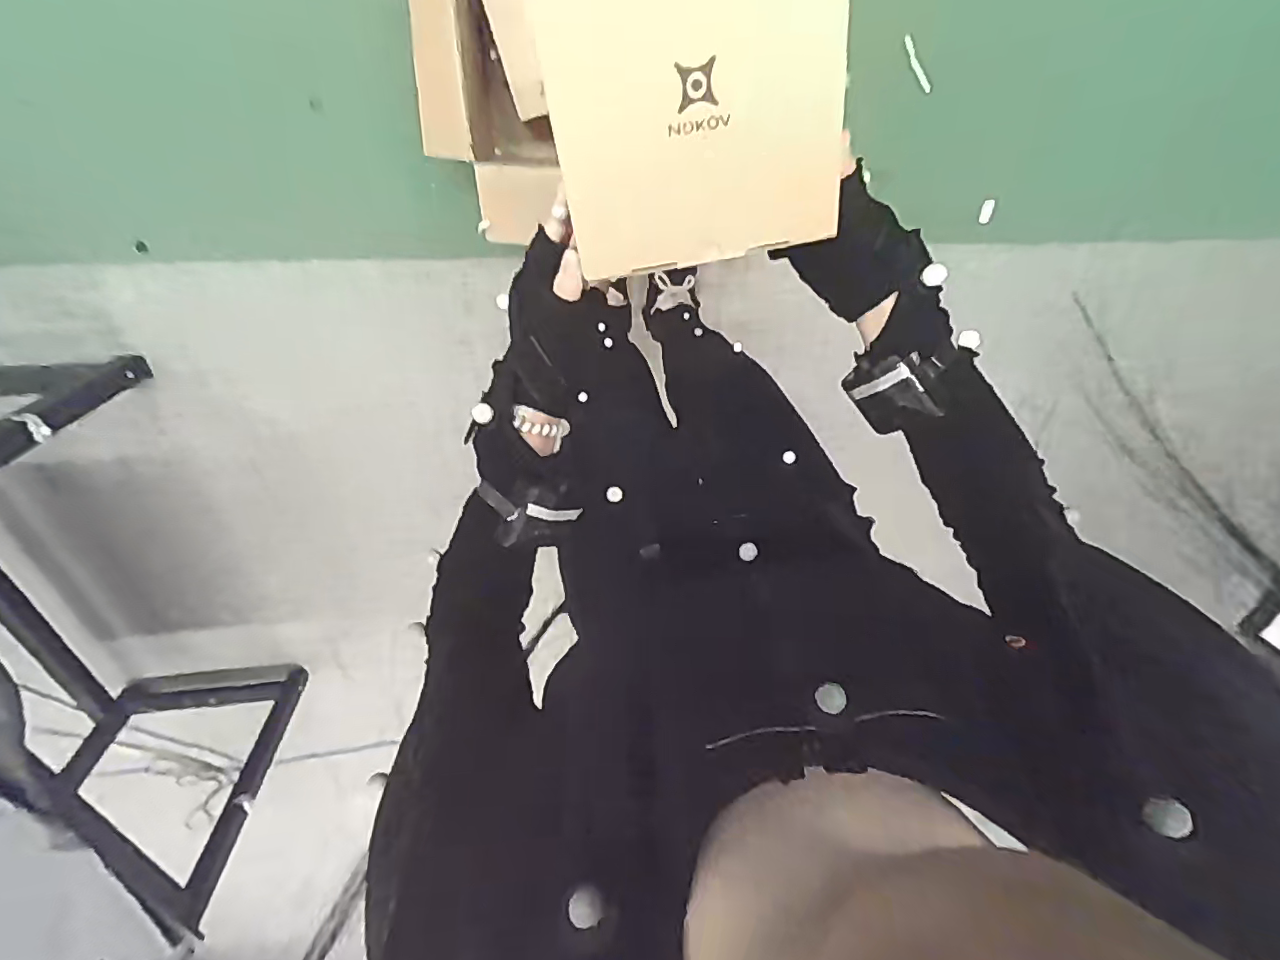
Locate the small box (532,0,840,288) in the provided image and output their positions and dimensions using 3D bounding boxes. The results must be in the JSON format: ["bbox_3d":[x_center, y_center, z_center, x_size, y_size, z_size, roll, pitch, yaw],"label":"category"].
[{"bbox_3d":[0.025,-0.257,0.377,0.168,0.176,0.179,-10,126,2],"label":"small box"}]
